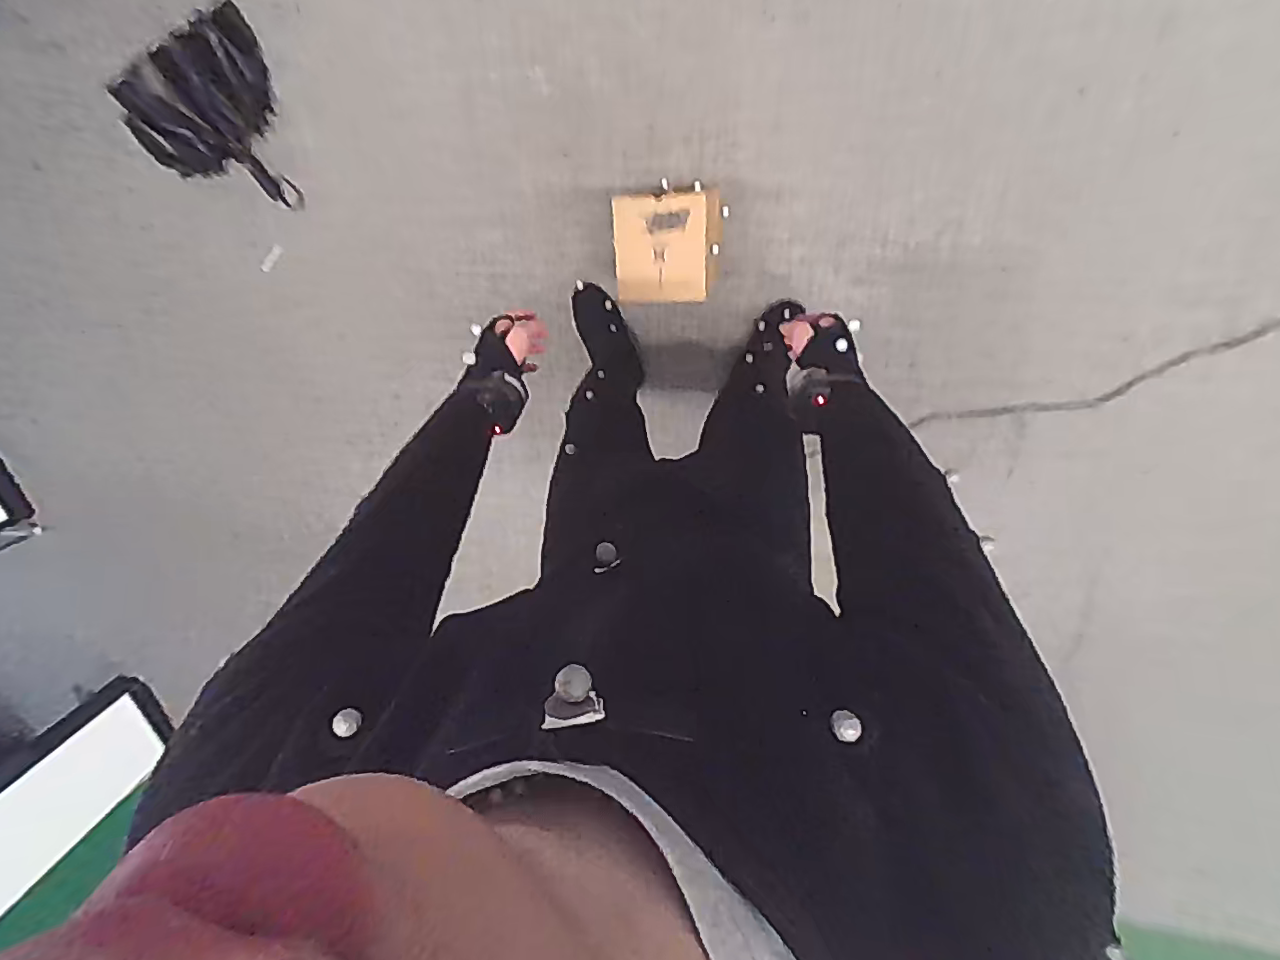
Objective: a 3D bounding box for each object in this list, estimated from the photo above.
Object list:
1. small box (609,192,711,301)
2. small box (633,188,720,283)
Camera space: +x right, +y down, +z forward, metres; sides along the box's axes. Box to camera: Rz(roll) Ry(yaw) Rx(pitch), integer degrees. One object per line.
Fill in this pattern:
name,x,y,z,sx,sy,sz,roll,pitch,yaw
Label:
small box,0.044,-0.447,1.031,0.168,0.176,0.179,4,119,12
small box,0.081,-0.531,1.167,0.168,0.176,0.179,5,121,12
